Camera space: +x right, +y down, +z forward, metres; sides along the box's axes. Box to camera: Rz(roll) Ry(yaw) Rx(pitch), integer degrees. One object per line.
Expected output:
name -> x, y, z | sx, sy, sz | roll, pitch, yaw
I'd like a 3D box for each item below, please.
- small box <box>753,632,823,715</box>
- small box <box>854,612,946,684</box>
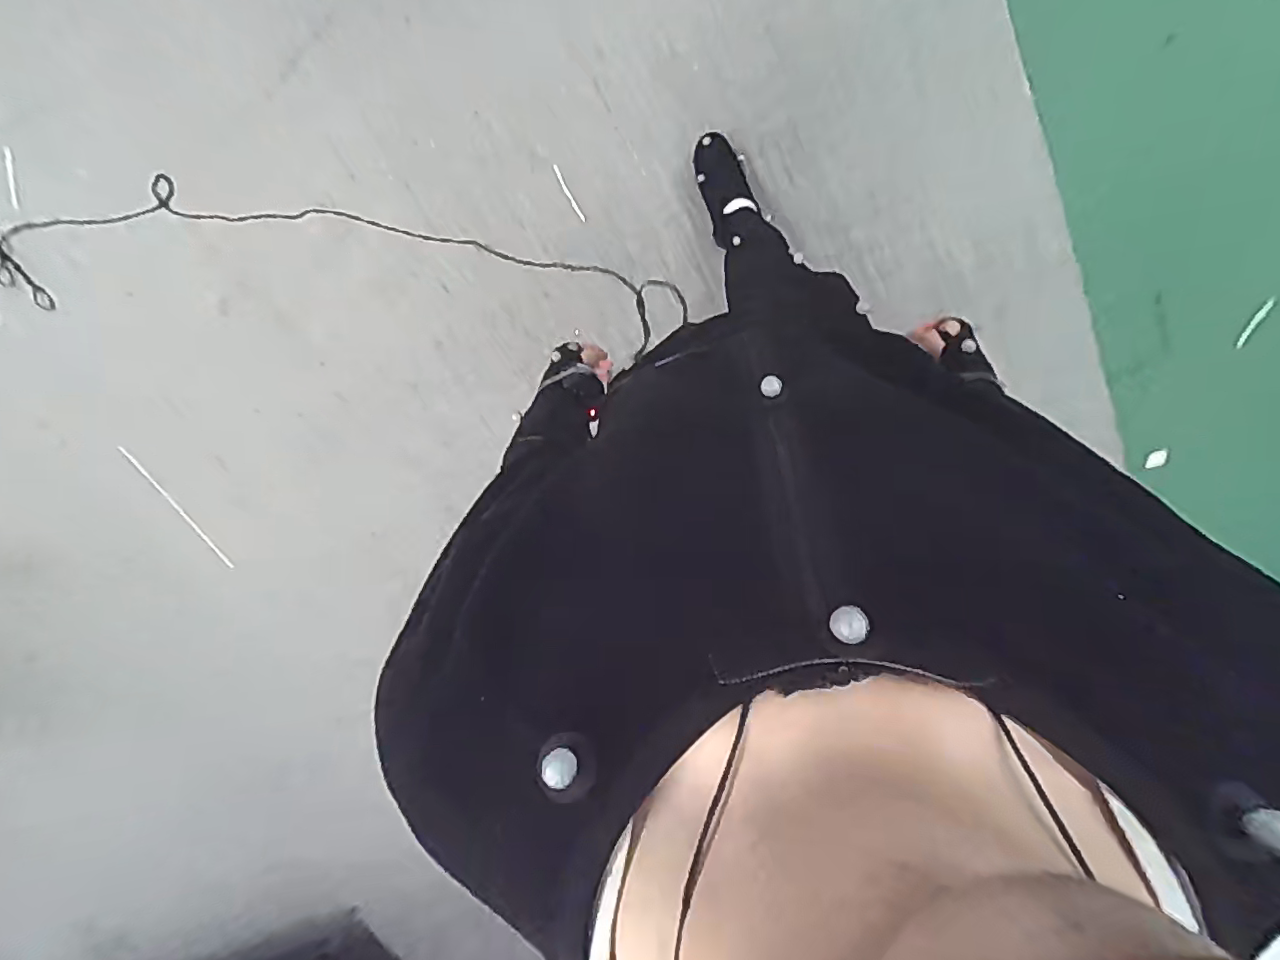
small box -> 0.445, 0.584, 1.650 | 0.179, 0.176, 0.168 | -10, 110, 9
small box -> 0.758, 0.460, 1.587 | 0.179, 0.176, 0.168 | -19, 109, 10
